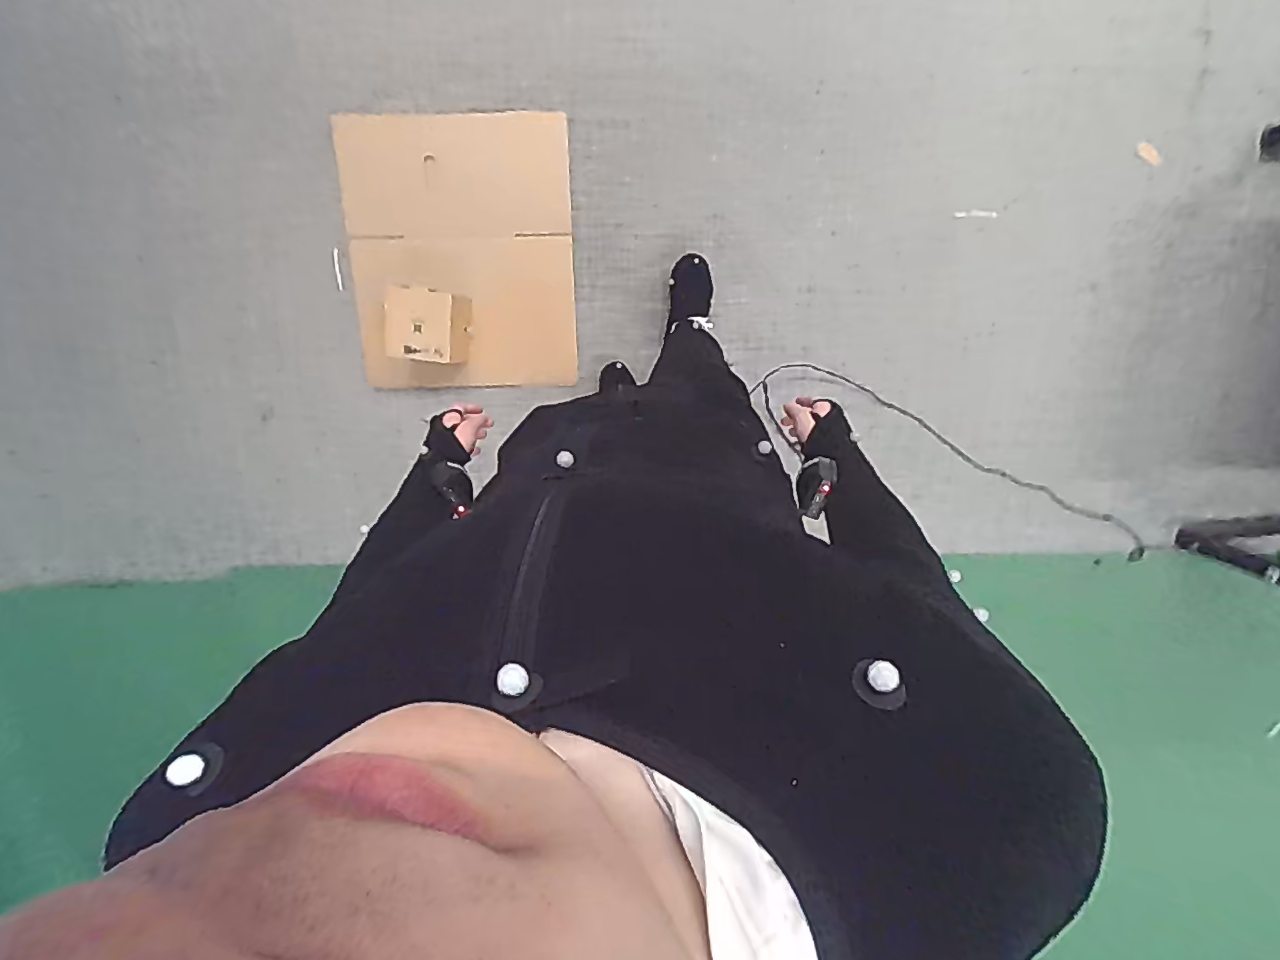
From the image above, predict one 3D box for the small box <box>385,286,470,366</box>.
[{"bbox_3d":[-0.558,-0.405,1.434,0.168,0.176,0.179,7,104,-2],"label":"small box"}]
